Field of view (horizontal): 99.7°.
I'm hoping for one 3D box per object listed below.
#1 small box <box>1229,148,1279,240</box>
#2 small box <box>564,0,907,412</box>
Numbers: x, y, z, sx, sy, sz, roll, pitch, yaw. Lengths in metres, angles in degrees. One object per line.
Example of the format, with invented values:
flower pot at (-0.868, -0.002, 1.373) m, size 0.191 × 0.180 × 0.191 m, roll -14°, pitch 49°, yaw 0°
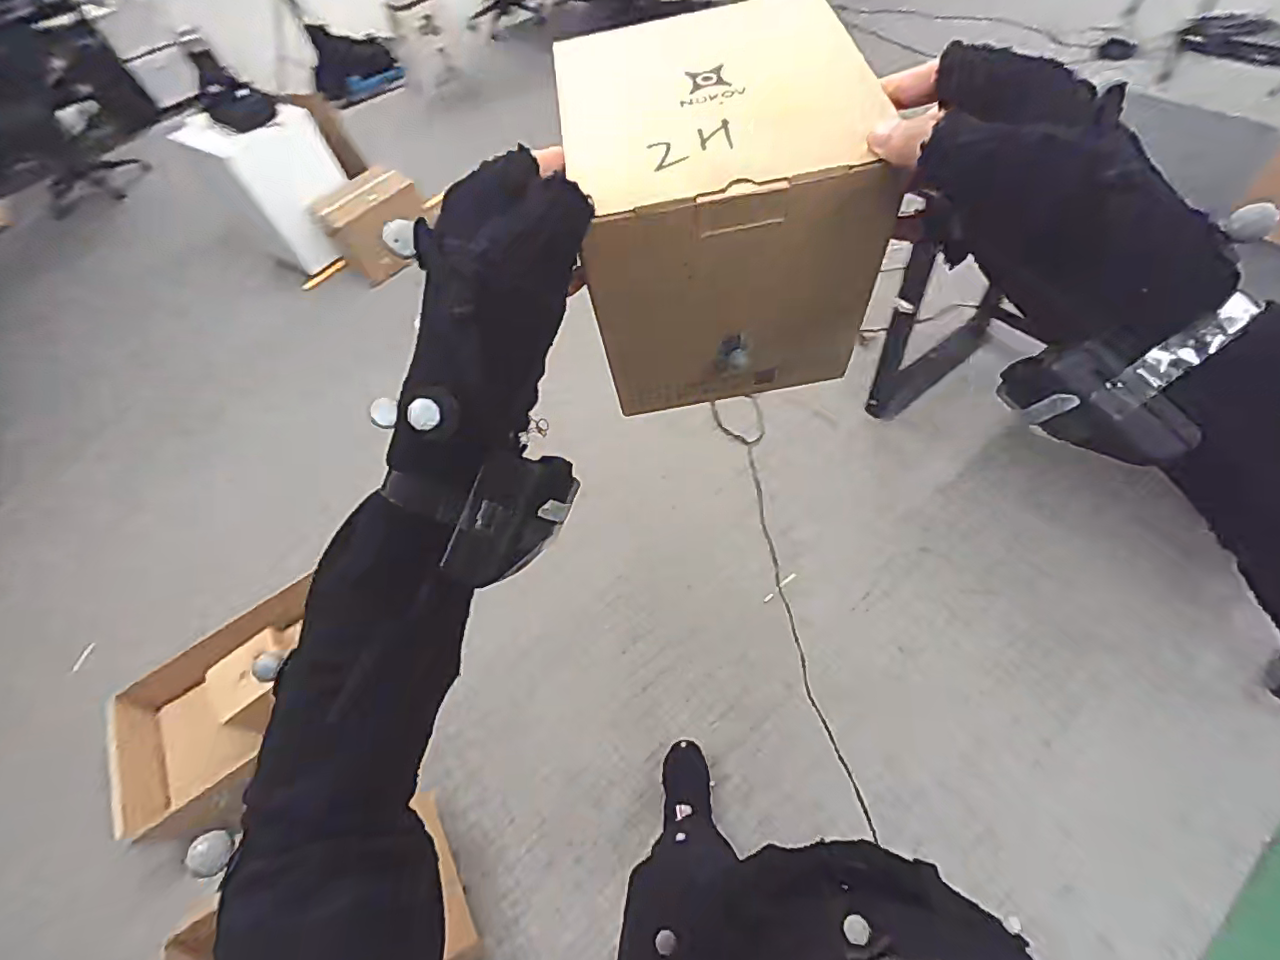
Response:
small box at (1.151, -0.509, 0.886) m, size 0.179 × 0.176 × 0.168 m, roll -36°, pitch 57°, yaw -13°
small box at (0.050, -0.173, 0.371) m, size 0.168 × 0.176 × 0.179 m, roll -10°, pitch 62°, yaw 5°
